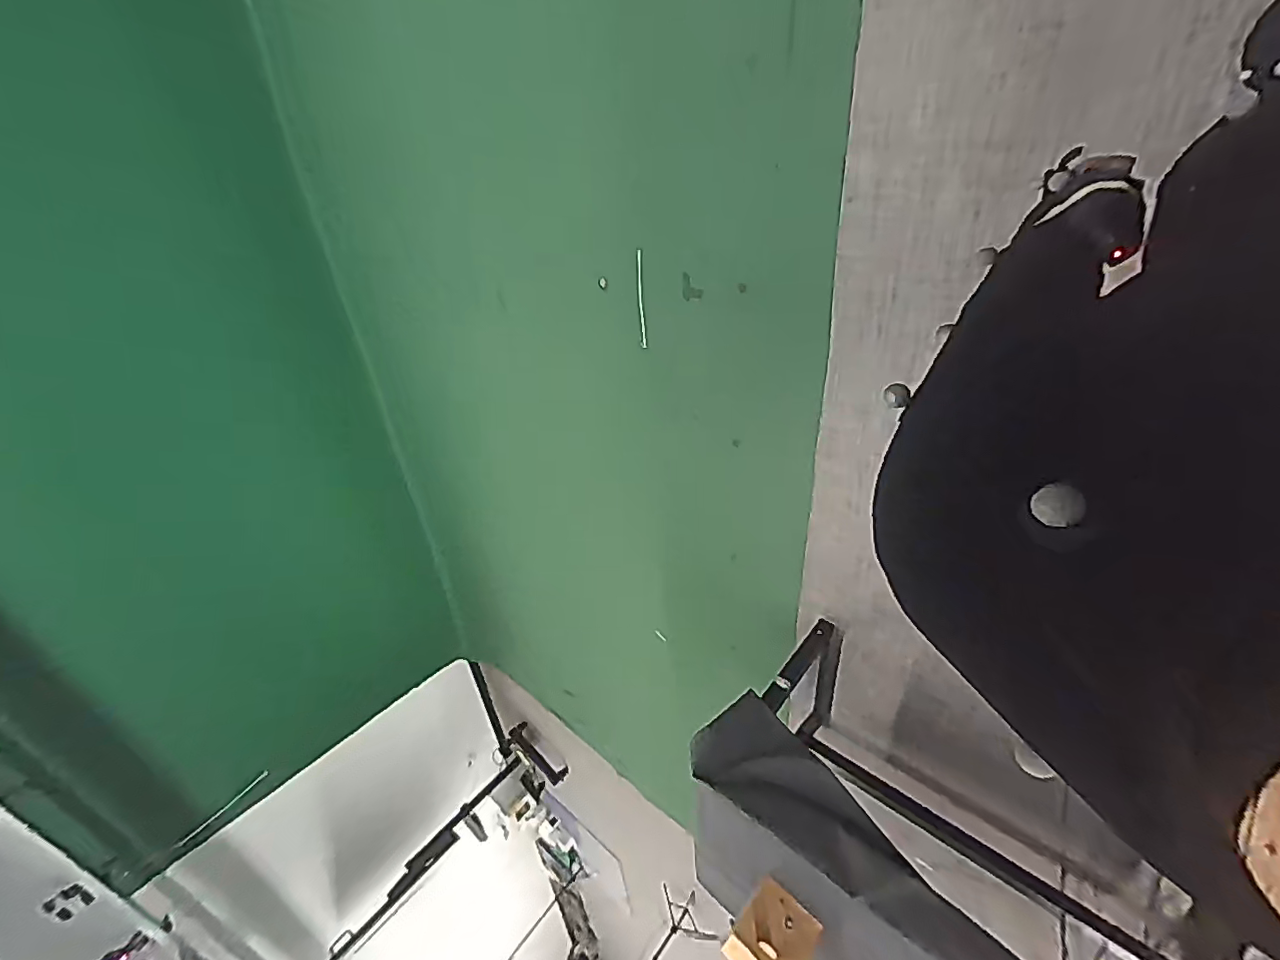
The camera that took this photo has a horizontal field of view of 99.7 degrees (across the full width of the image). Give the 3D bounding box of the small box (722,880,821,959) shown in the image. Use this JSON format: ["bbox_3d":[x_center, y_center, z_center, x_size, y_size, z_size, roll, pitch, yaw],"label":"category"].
[{"bbox_3d":[0.331,1.166,1.361,0.168,0.176,0.179,32,135,30],"label":"small box"}]
